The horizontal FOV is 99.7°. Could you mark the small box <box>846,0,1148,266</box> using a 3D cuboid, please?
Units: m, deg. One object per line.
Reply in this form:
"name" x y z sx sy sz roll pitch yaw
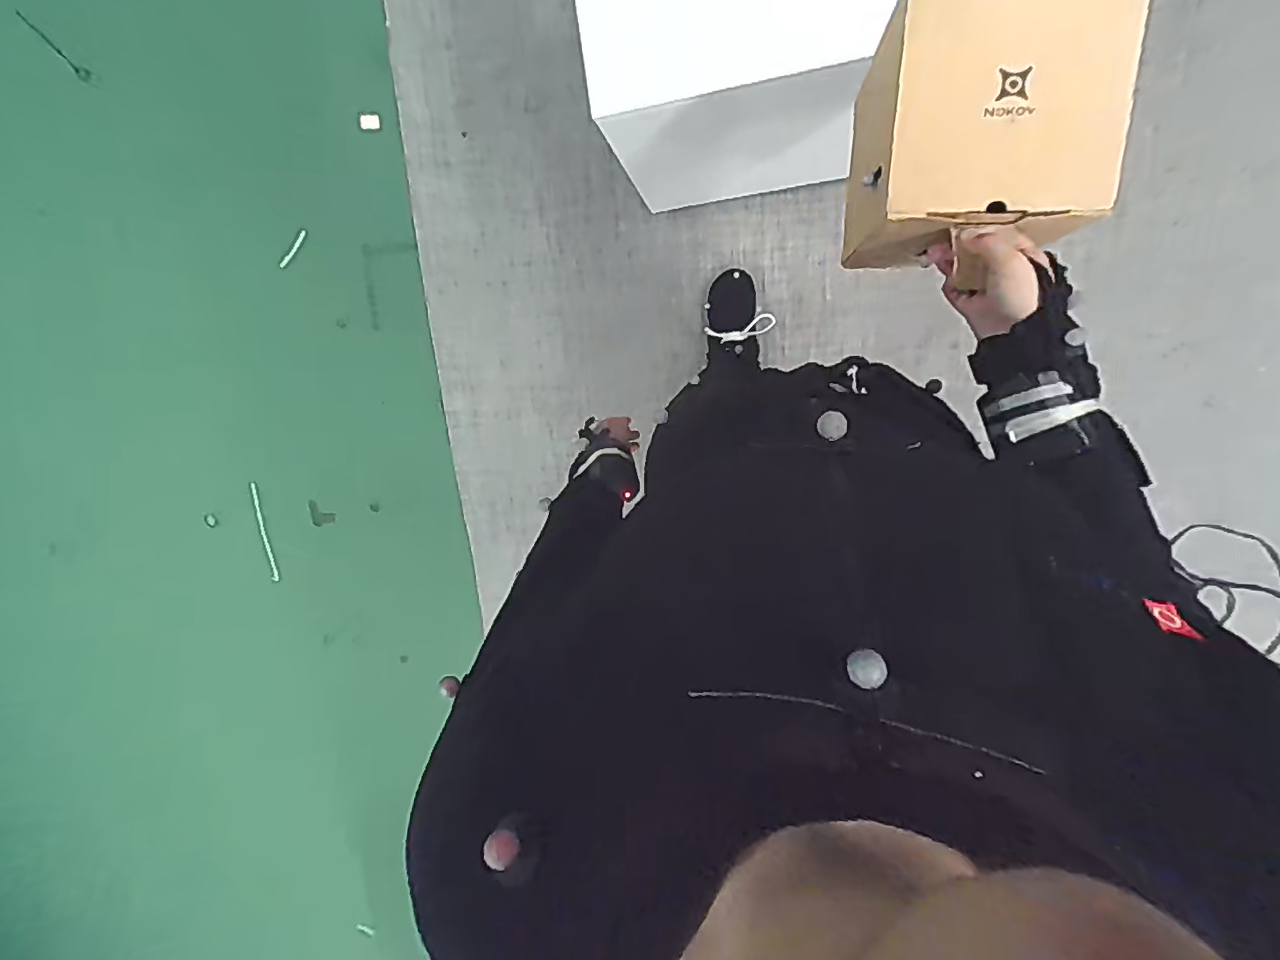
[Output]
"small box" 0.291 -0.304 0.482 0.168 0.176 0.179 3 99 8
